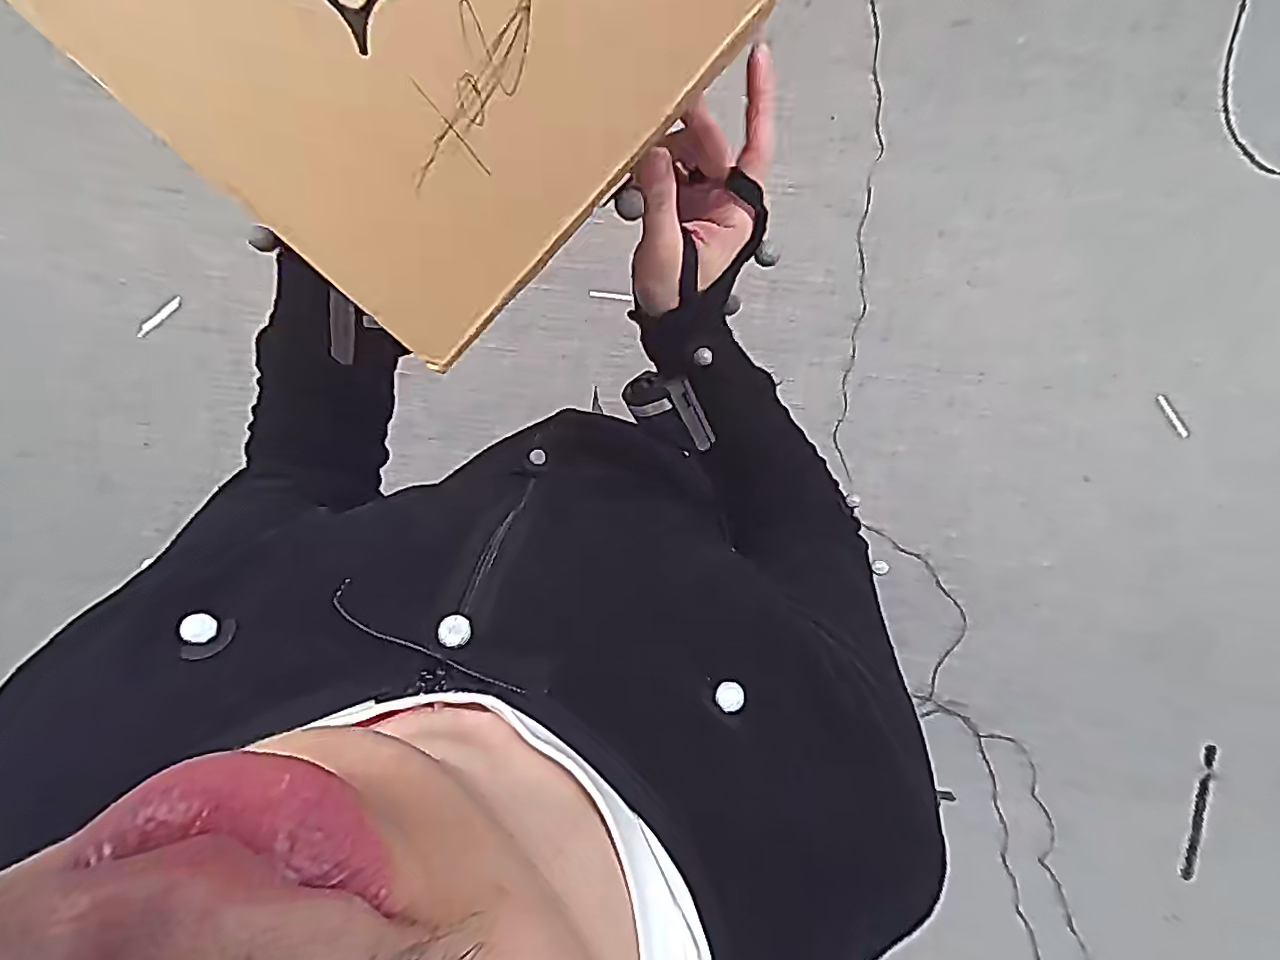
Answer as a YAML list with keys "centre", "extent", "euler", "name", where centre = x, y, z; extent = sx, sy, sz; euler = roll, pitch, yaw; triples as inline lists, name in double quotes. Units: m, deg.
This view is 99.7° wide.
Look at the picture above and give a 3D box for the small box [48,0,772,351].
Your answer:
- centre: [-0.067, -0.193, 0.219]
  extent: [0.168, 0.176, 0.179]
  euler: [-35, 114, 31]
  name: "small box"
